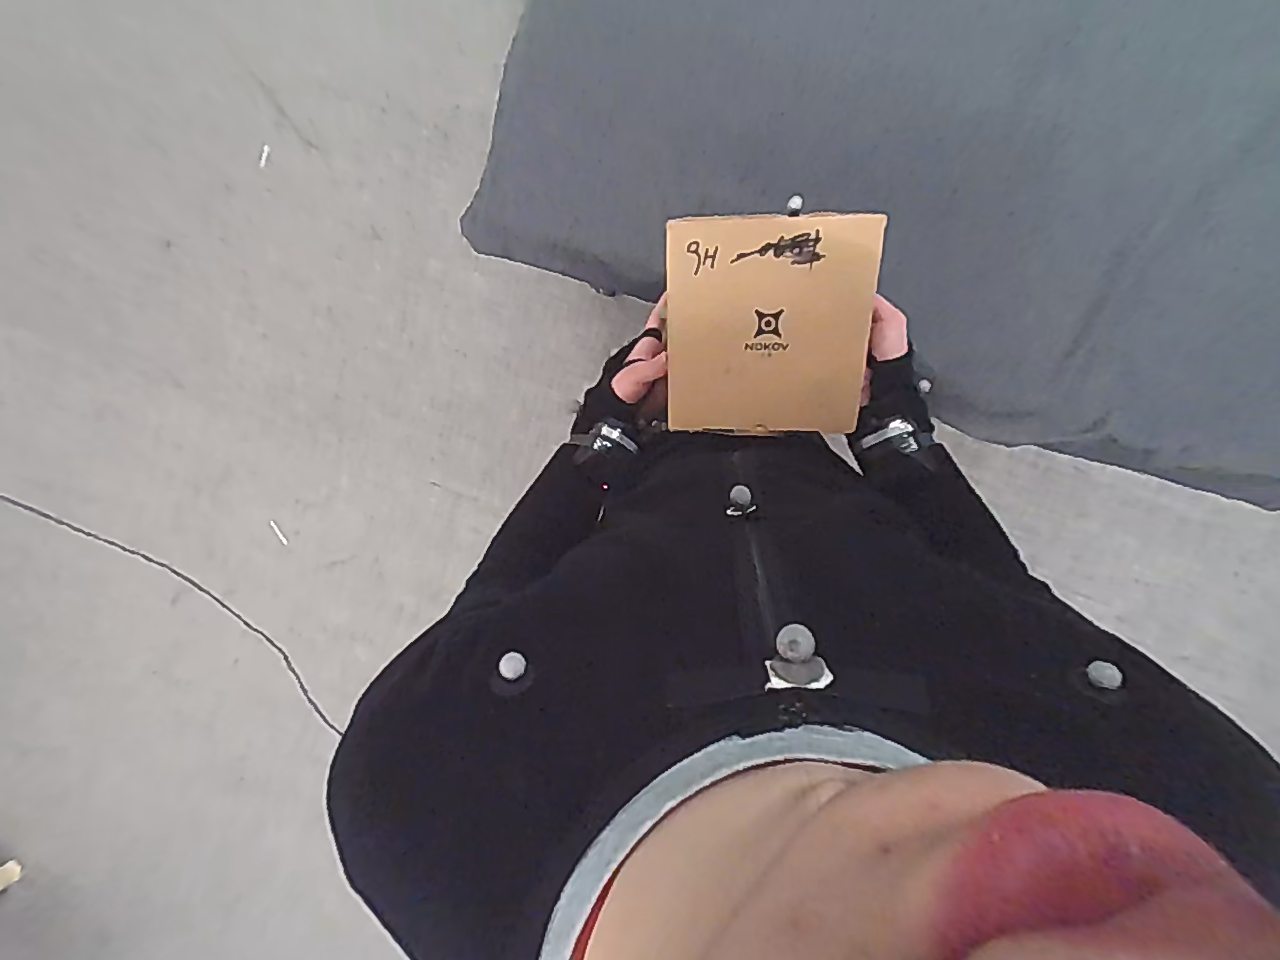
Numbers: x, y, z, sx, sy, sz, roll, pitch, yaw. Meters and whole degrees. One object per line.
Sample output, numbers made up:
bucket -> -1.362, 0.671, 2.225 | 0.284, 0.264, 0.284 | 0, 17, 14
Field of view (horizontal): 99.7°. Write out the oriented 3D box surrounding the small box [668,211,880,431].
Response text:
small box -> 0.115, -0.162, 0.531 | 0.168, 0.176, 0.179 | 1, 118, 6
